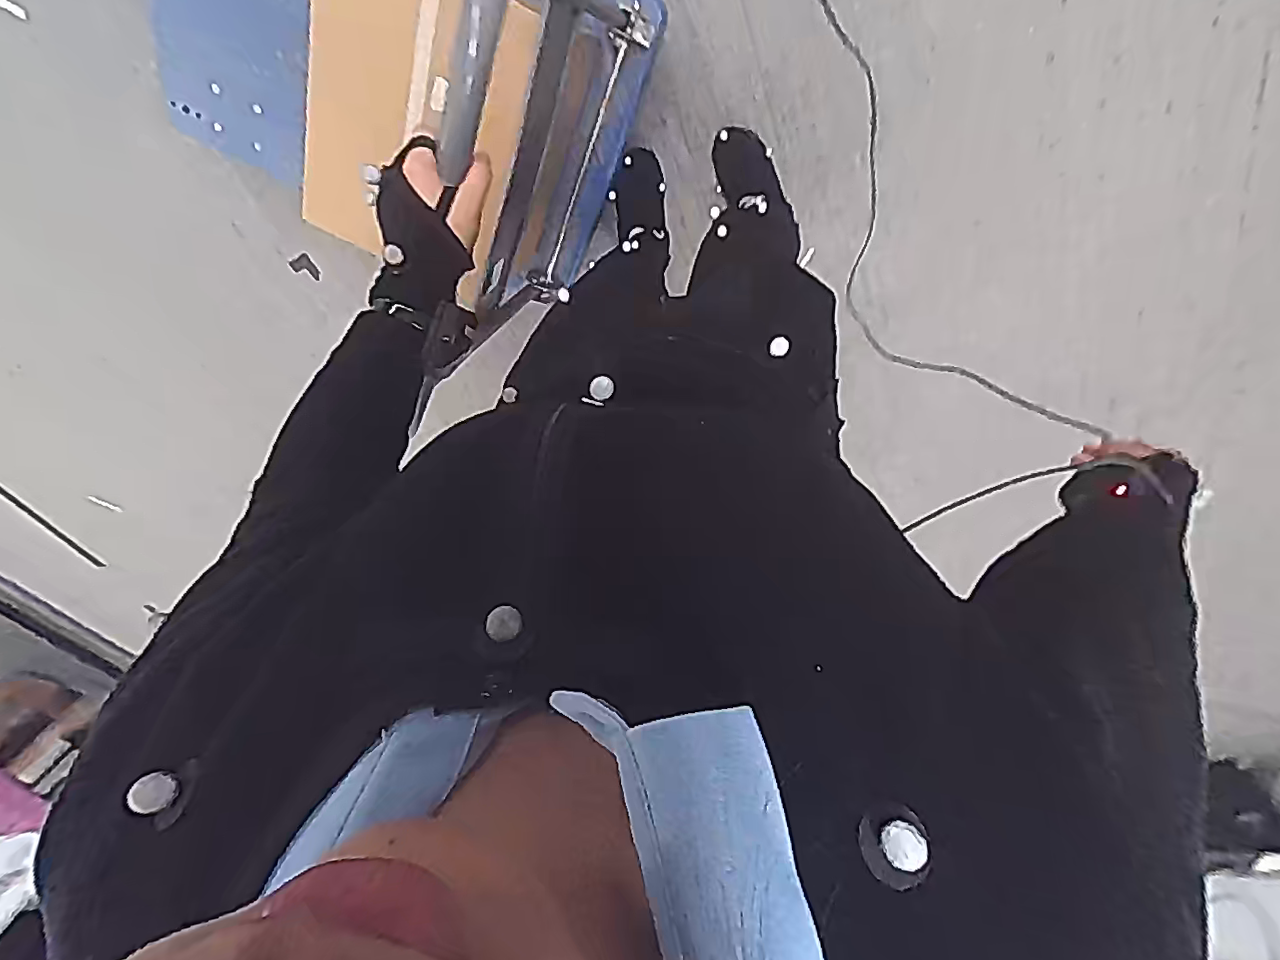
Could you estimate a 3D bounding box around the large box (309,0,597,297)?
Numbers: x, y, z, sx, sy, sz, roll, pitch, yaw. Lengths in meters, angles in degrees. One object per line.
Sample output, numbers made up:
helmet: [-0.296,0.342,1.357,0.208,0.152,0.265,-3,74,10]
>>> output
large box: [-0.304,-0.594,0.907,0.320,0.320,0.408,24,125,-9]
